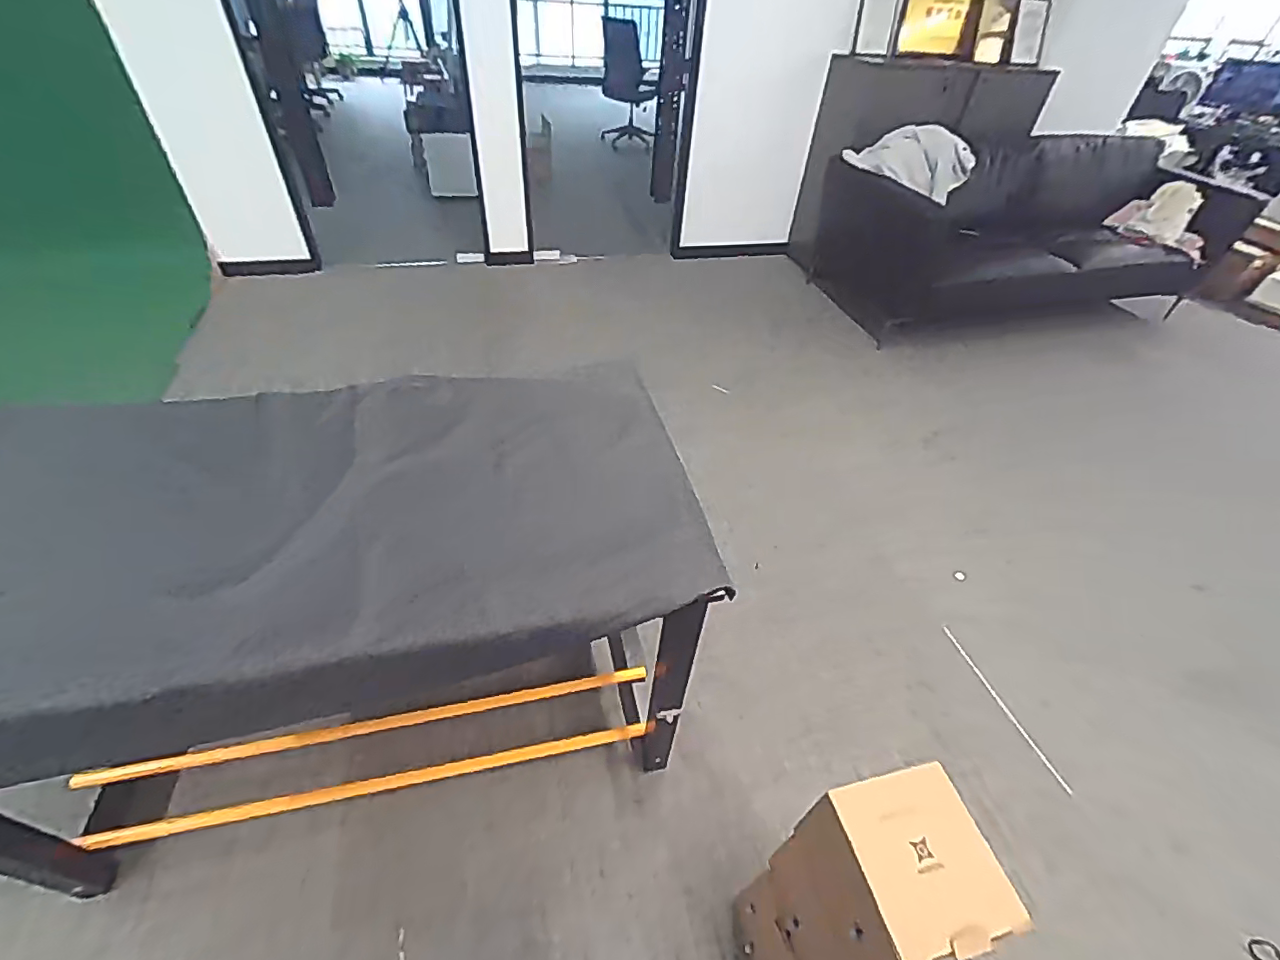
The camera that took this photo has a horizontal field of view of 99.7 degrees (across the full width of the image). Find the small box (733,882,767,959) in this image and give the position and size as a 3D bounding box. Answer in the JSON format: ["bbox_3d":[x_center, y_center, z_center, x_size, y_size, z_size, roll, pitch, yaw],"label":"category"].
[{"bbox_3d":[0.295,0.850,1.015,0.179,0.176,0.168,-5,43,-13],"label":"small box"}]

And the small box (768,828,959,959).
[{"bbox_3d":[0.309,0.610,0.791,0.168,0.176,0.179,-6,45,-13],"label":"small box"}]

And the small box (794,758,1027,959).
[{"bbox_3d":[0.320,0.489,0.684,0.168,0.176,0.179,-7,44,-14],"label":"small box"}]

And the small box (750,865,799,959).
[{"bbox_3d":[0.296,0.735,0.898,0.179,0.176,0.168,-7,45,-14],"label":"small box"}]
